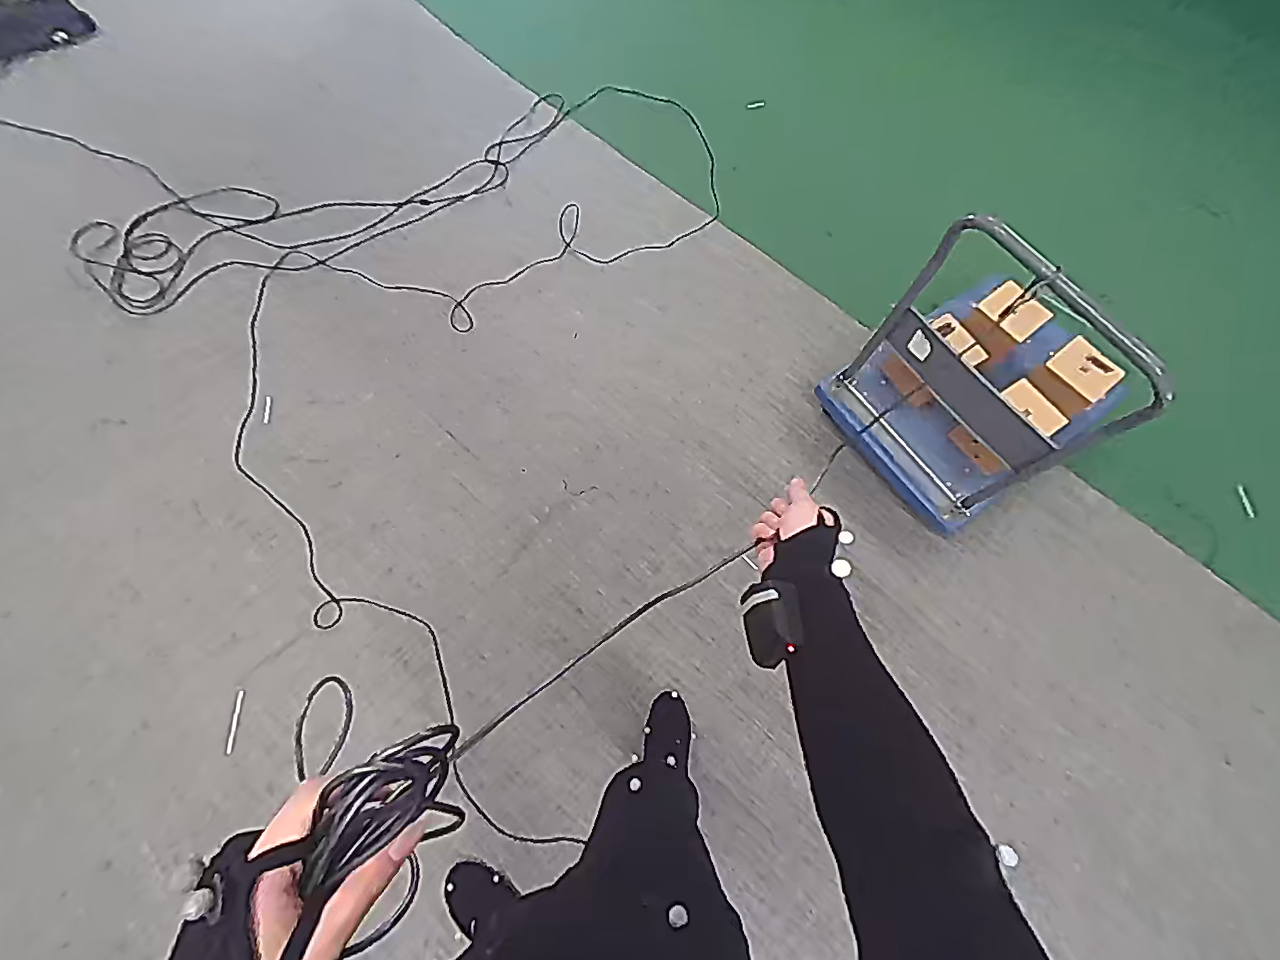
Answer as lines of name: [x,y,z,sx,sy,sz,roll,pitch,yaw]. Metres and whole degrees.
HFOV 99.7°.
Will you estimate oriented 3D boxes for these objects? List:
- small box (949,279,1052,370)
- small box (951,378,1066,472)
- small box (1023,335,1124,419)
small box: [1.100,-0.474,1.671,0.179,0.176,0.168,-35,75,-17]
small box: [1.034,-0.152,1.533,0.179,0.176,0.168,-31,73,-15]
small box: [1.256,-0.288,1.605,0.179,0.176,0.168,-35,73,-16]
